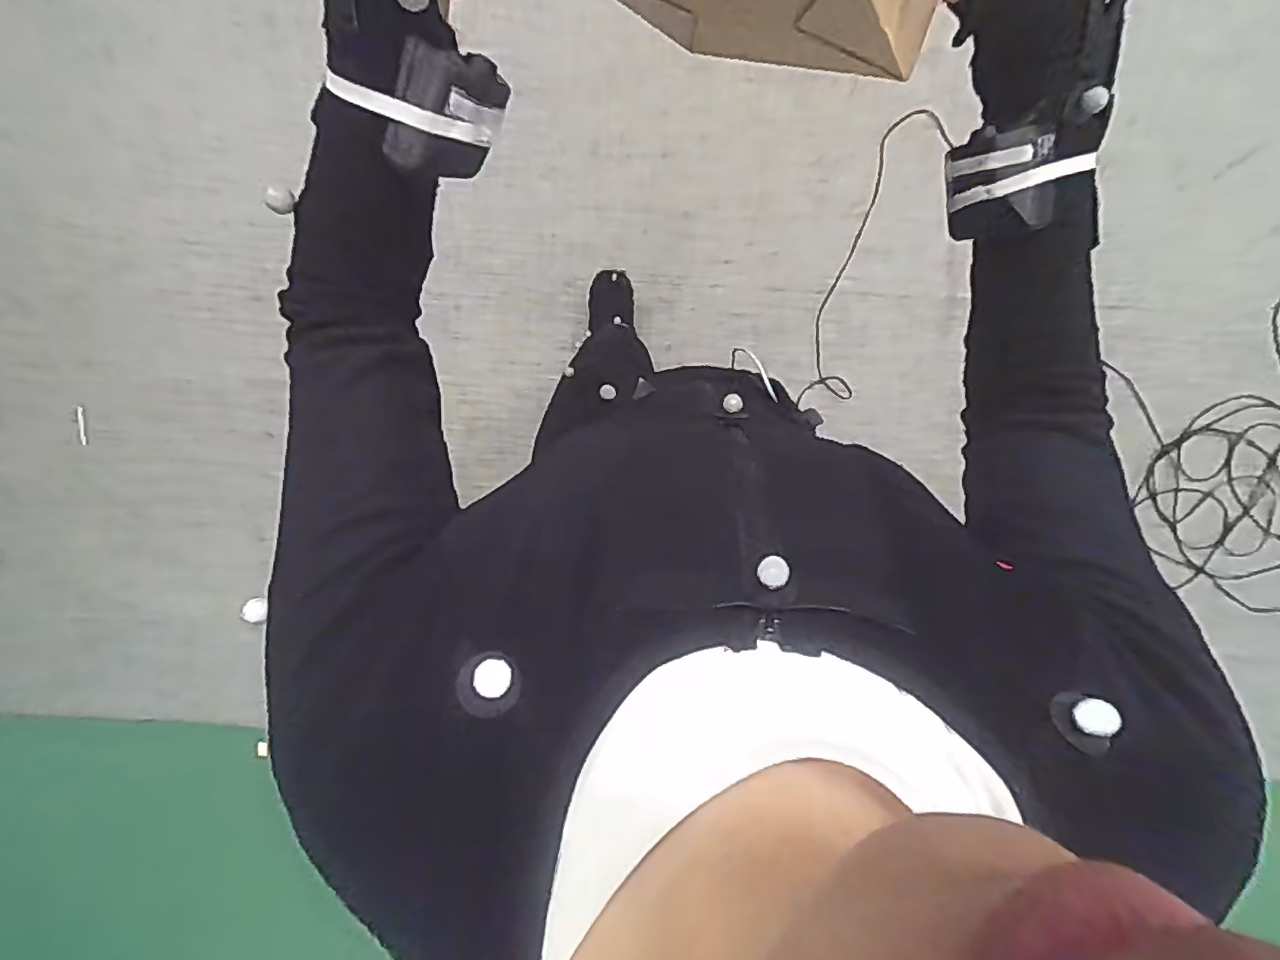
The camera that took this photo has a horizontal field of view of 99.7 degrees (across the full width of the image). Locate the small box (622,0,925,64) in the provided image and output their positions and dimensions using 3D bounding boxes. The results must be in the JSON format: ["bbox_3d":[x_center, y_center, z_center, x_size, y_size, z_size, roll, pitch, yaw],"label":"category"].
[{"bbox_3d":[0.076,-0.340,0.280,0.168,0.179,0.176,26,119,24],"label":"small box"}]
